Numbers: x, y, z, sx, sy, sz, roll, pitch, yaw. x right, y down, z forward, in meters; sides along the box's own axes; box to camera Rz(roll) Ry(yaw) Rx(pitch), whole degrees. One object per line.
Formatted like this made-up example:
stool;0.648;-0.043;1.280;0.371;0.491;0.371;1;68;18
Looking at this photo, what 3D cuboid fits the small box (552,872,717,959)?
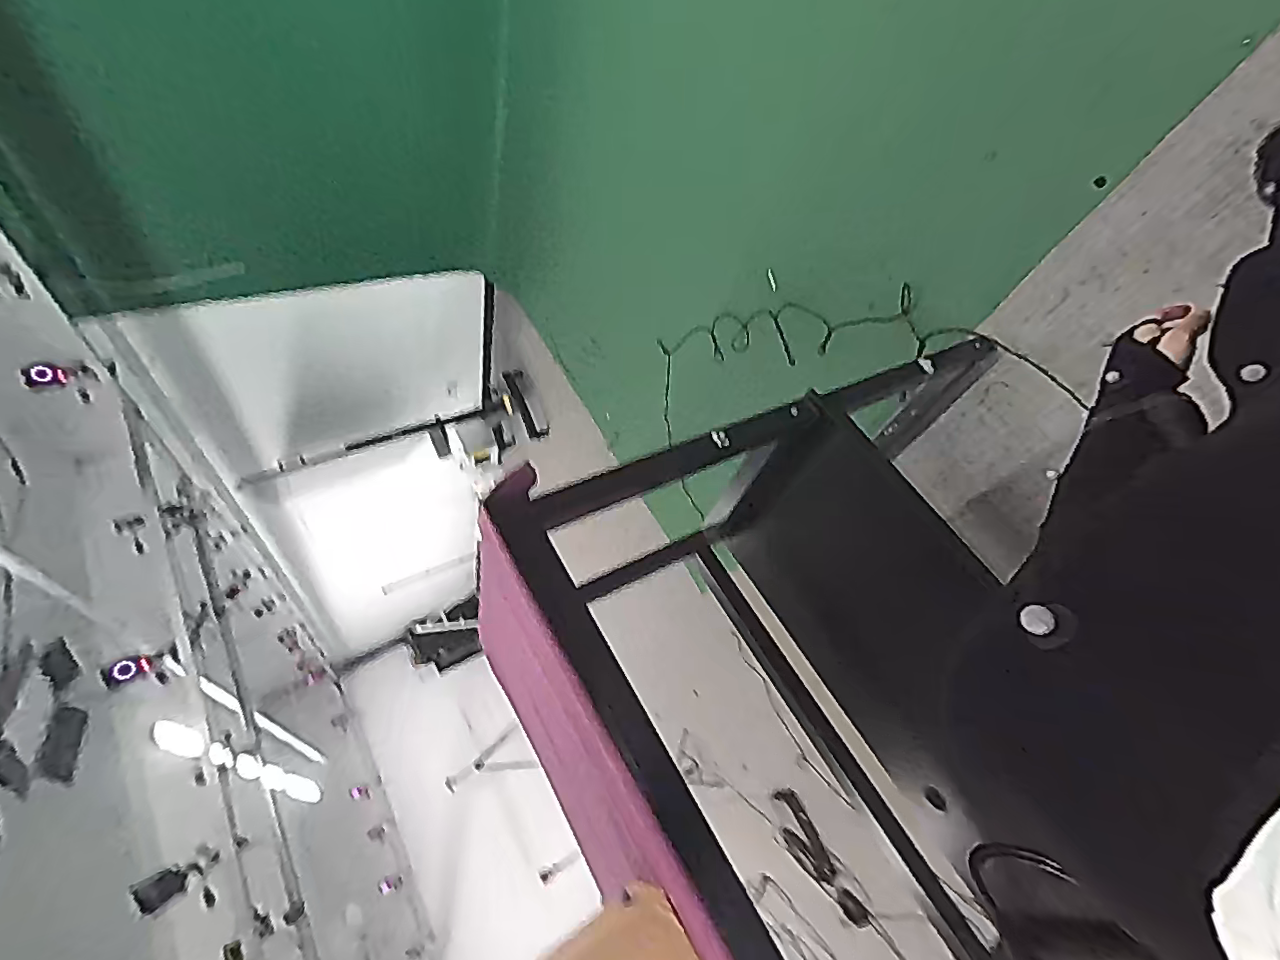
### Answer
small box;0.009;0.642;0.682;0.179;0.176;0.168;57;150;22
